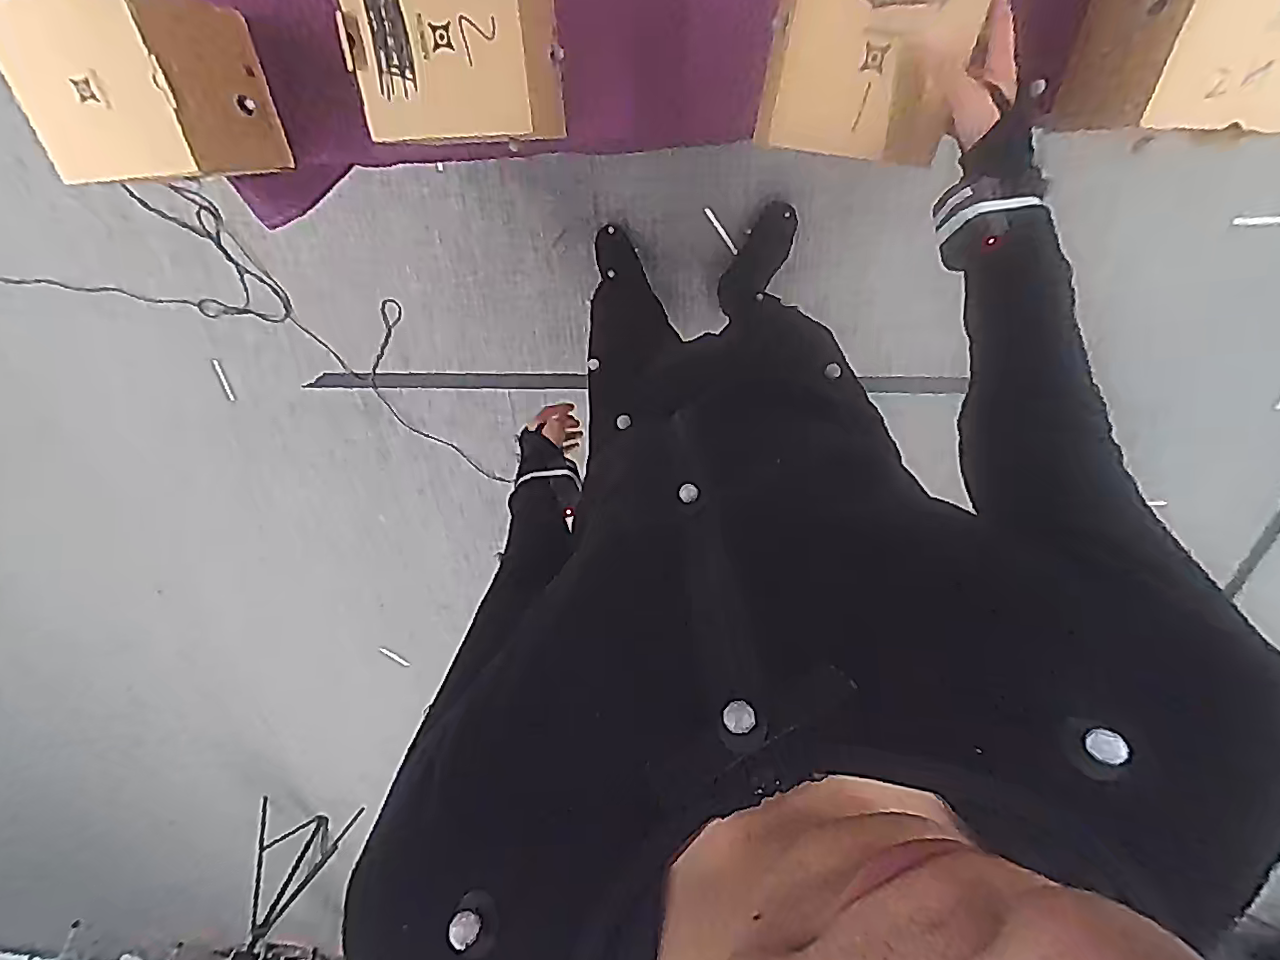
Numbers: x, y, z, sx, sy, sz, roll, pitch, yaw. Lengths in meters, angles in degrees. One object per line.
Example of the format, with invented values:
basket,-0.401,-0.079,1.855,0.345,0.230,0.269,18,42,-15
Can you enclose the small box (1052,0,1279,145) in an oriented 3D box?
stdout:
small box,0.549,-0.431,0.519,0.168,0.176,0.179,6,122,4

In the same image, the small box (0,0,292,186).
small box,-0.564,-0.445,0.635,0.179,0.176,0.168,-2,121,6
